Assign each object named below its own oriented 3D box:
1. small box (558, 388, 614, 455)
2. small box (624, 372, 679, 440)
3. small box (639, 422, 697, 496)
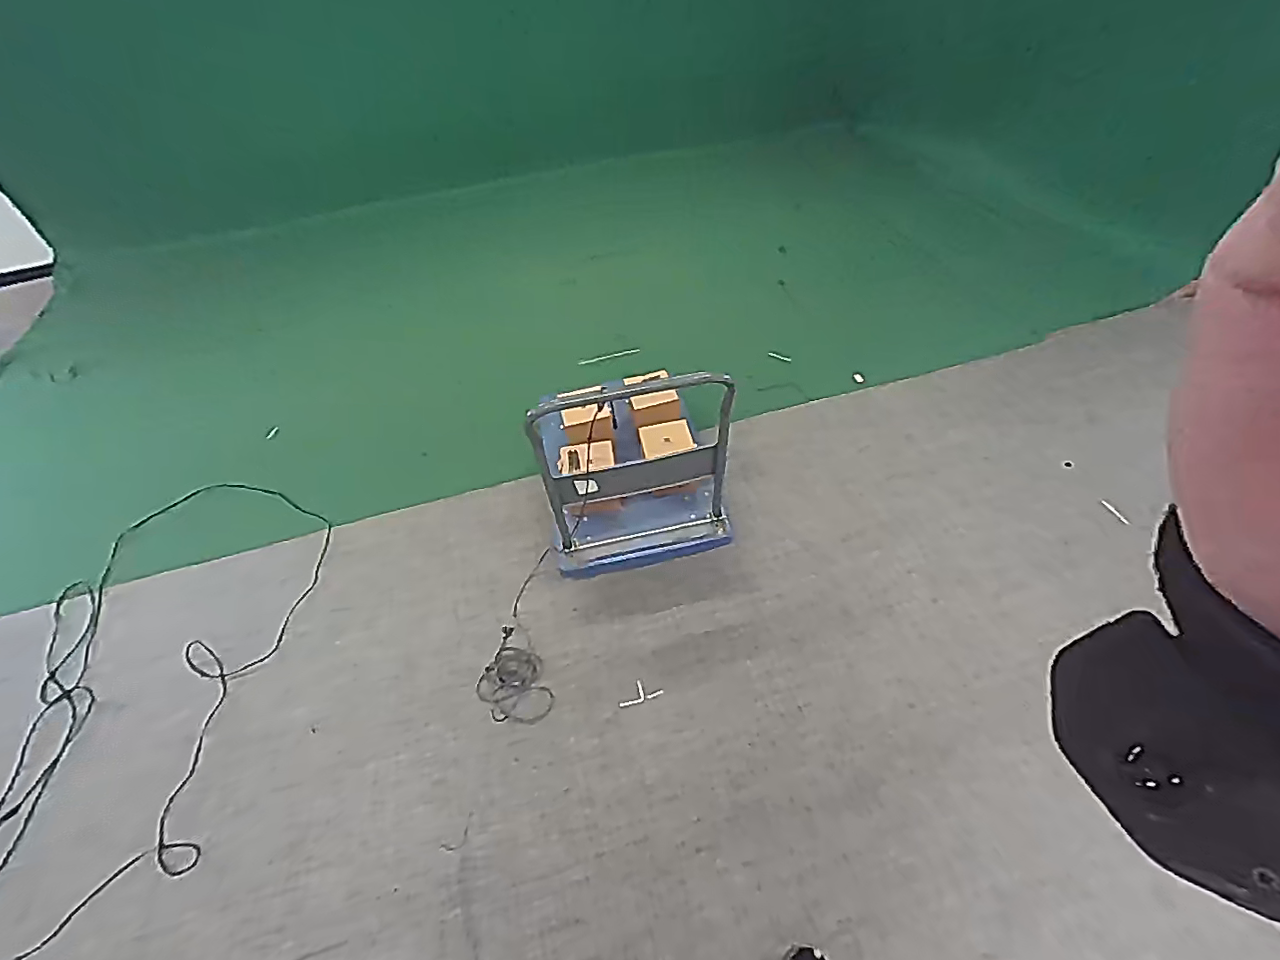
[{"bbox_3d":[-0.199,-0.210,2.003,0.168,0.176,0.179,-14,50,-6],"label":"small box"},{"bbox_3d":[0.044,-0.273,2.029,0.168,0.176,0.179,-15,51,-5],"label":"small box"},{"bbox_3d":[0.095,-0.072,1.856,0.168,0.176,0.179,-11,50,-3],"label":"small box"}]
